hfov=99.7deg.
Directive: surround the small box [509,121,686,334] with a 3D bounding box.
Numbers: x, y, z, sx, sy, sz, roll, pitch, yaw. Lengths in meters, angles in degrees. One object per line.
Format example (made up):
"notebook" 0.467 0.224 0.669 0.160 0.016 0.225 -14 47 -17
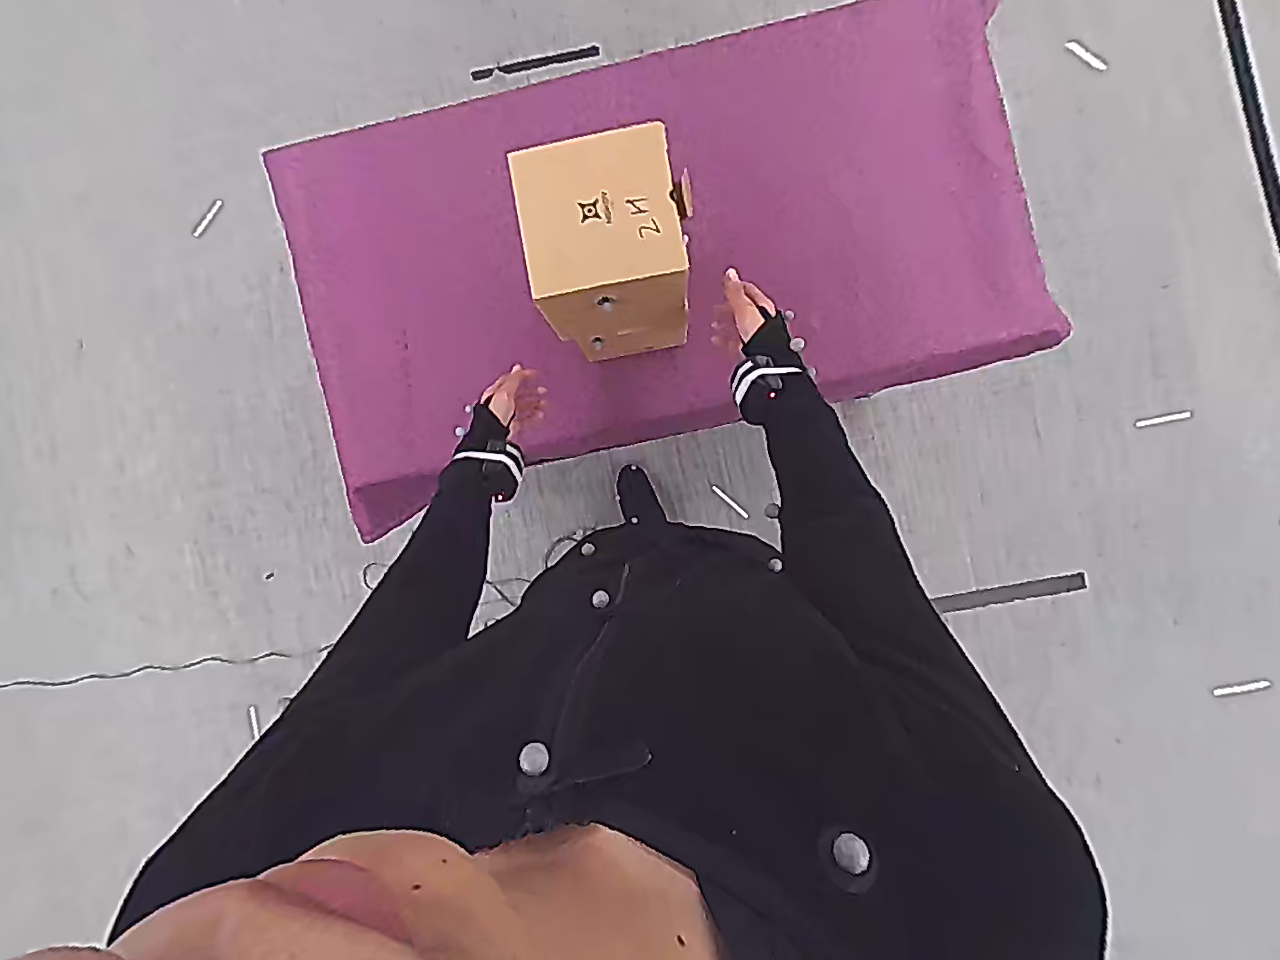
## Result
"small box" -0.042 -0.291 0.664 0.179 0.176 0.168 -10 89 2
